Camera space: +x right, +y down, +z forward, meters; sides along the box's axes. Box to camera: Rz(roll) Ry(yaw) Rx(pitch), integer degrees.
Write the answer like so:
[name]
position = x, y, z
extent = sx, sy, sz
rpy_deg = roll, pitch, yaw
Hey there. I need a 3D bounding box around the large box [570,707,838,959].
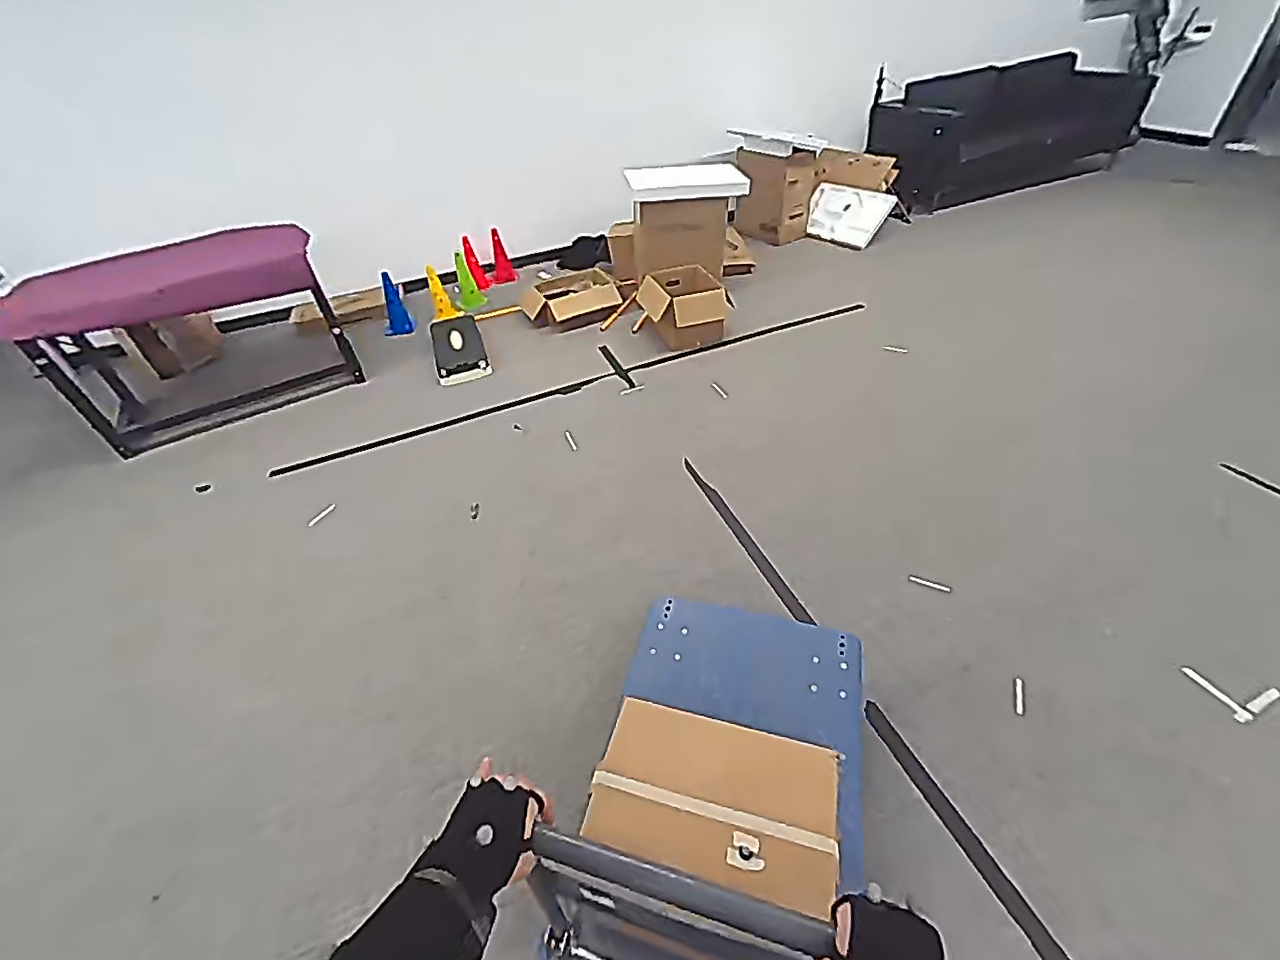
[large box]
position = 0.127, 0.679, 0.999
extent = 0.408, 0.320, 0.320
rpy_deg = 9, 44, 15
